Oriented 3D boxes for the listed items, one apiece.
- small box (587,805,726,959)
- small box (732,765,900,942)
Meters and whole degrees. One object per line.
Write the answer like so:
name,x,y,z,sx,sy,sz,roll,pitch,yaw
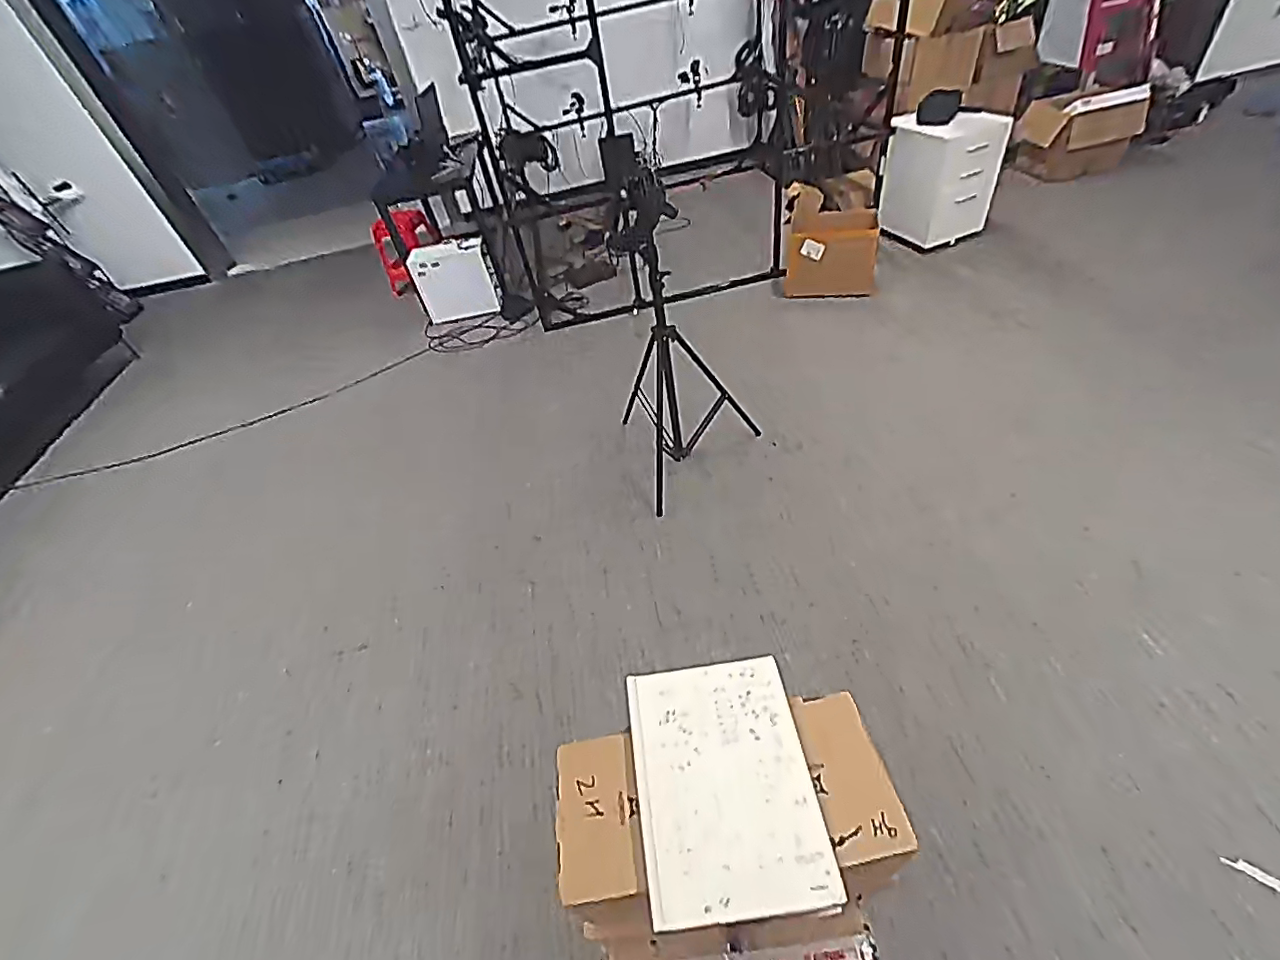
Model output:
small box,0.028,0.590,0.784,0.179,0.176,0.168,-9,45,5
small box,0.239,0.544,0.786,0.179,0.176,0.168,-13,45,-2
